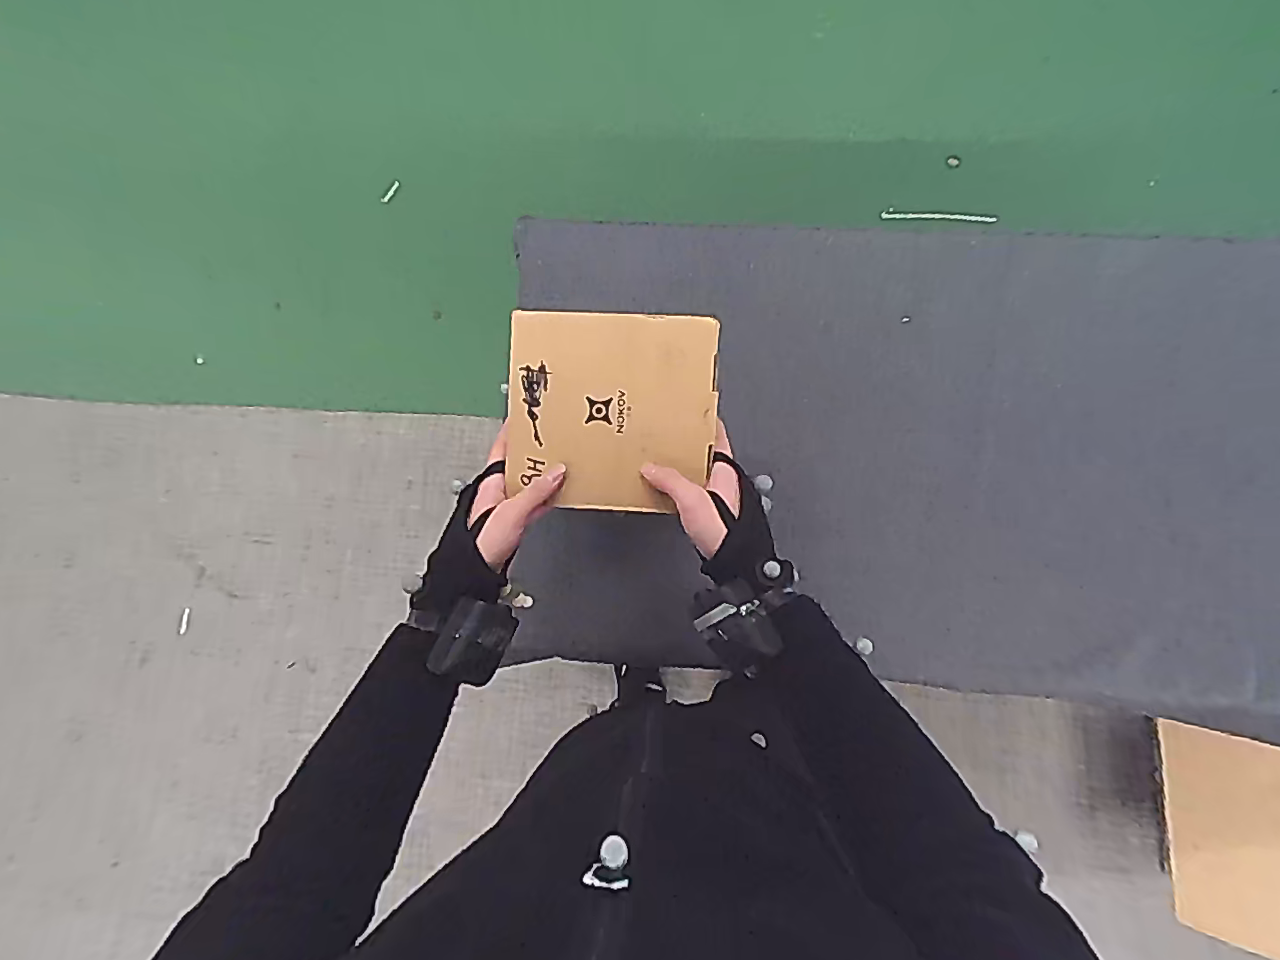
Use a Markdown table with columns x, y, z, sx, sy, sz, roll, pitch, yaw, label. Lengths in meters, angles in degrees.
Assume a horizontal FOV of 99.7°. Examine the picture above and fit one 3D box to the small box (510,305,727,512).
| x | y | z | sx | sy | sz | roll | pitch | yaw | label |
| --- | --- | --- | --- | --- | --- | --- | --- | --- | --- |
| -0.016 | -0.062 | 0.537 | 0.179 | 0.176 | 0.168 | 4 | 91 | 3 | small box |
